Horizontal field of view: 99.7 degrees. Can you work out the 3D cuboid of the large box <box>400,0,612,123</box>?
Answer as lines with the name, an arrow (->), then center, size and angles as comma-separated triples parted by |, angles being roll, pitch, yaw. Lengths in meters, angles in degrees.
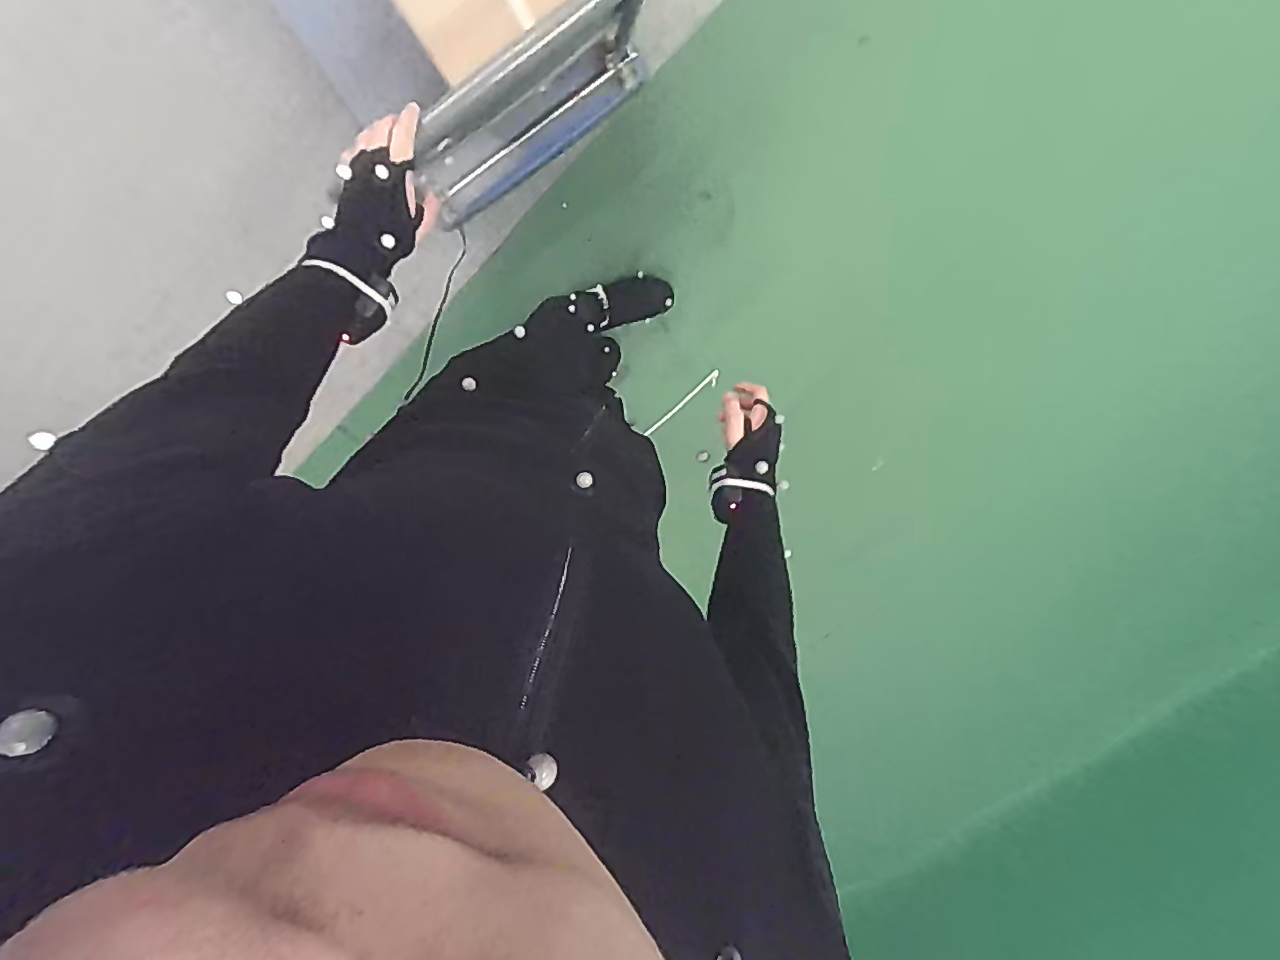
large box -> -0.281, -0.921, 0.915 | 0.320, 0.320, 0.408 | -32, 112, 9
